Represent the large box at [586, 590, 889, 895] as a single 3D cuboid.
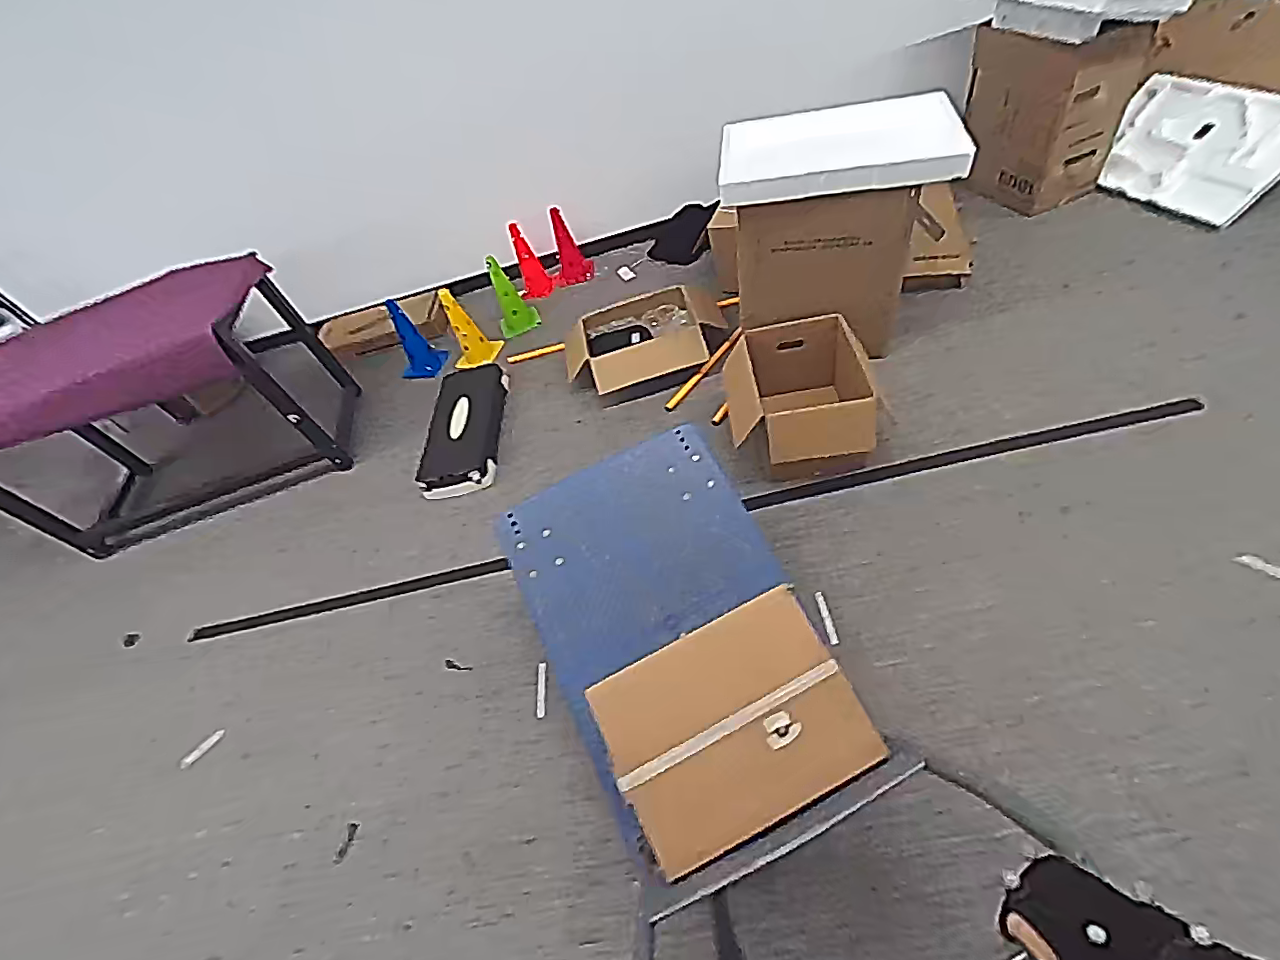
[{"bbox_3d":[0.159,0.460,1.015,0.408,0.320,0.320,-27,71,-7],"label":"large box"}]
